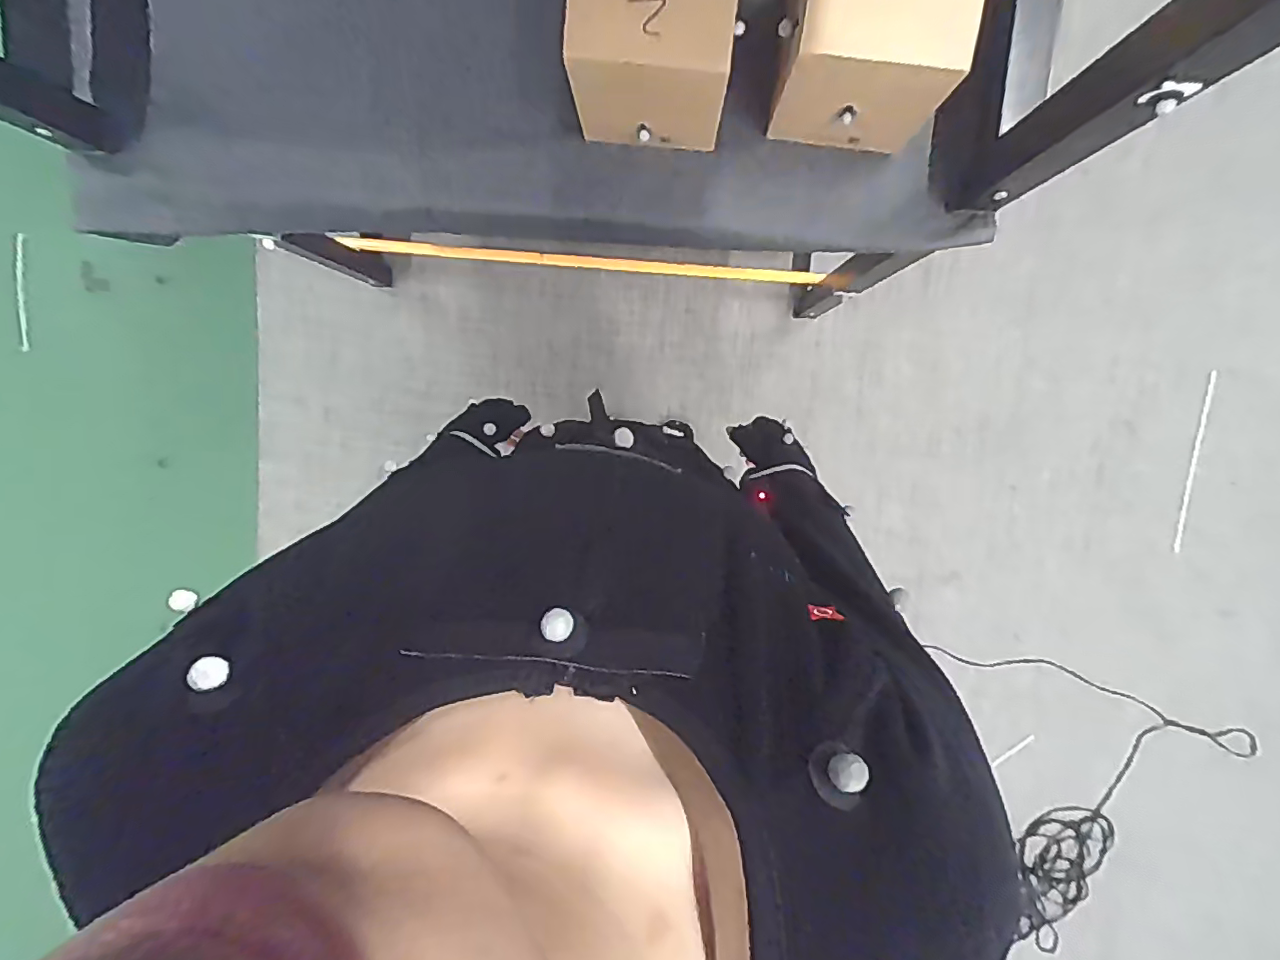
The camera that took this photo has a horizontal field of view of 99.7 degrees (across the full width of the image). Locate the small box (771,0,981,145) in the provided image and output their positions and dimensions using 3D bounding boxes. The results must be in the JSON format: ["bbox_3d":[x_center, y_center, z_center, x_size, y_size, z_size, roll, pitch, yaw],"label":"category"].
[{"bbox_3d":[0.247,-0.497,0.585,0.168,0.176,0.179,8,98,1],"label":"small box"}]
